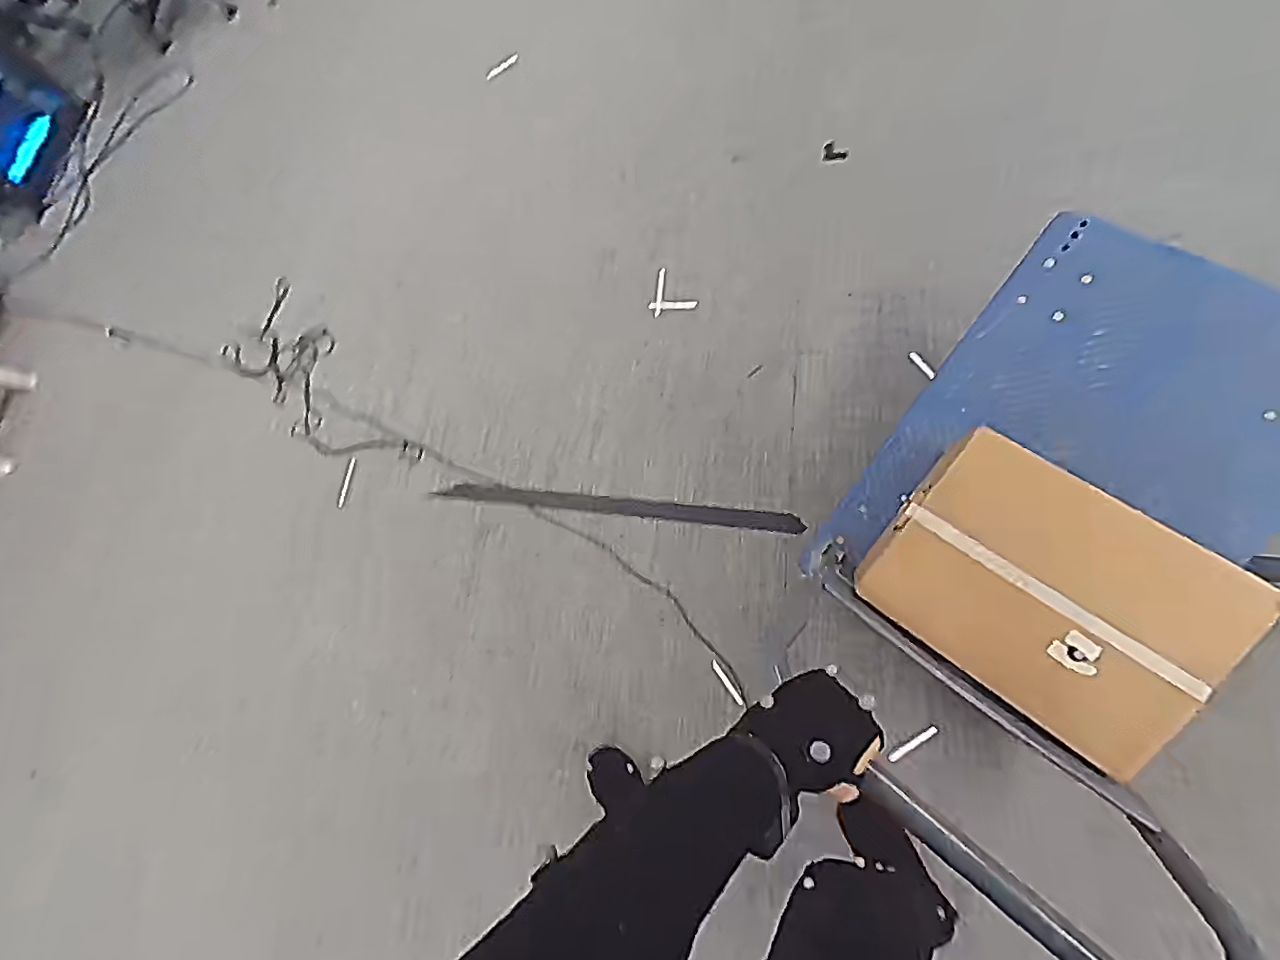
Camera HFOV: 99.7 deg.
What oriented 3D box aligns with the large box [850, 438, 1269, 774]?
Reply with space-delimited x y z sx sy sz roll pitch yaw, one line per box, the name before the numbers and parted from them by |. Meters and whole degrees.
large box | 0.618 0.176 0.910 0.408 0.320 0.320 37 100 19
